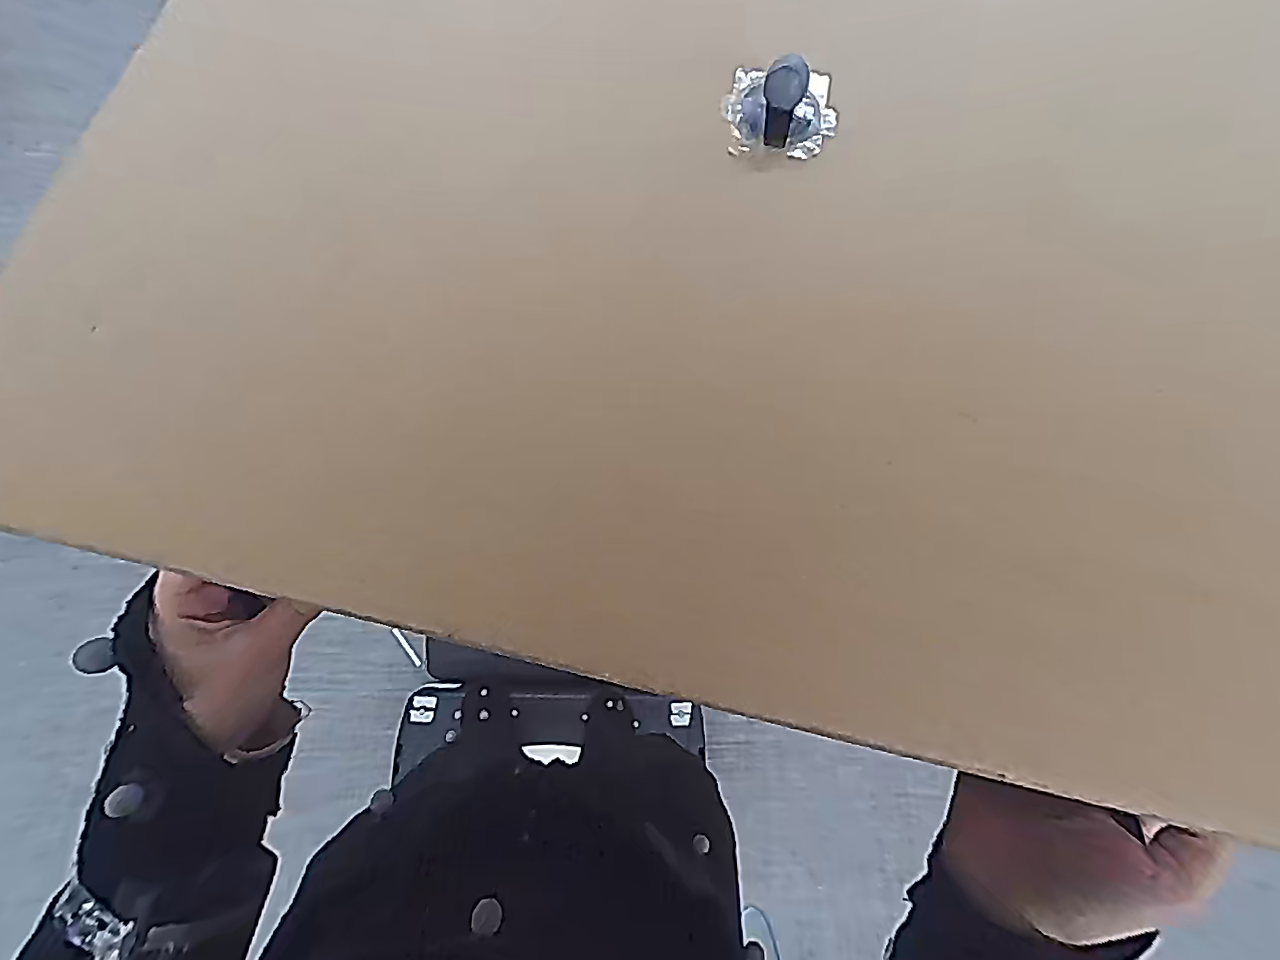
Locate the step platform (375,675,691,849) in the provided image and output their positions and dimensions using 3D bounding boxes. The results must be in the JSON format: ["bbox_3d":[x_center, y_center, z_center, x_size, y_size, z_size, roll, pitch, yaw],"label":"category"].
[{"bbox_3d":[-0.224,0.628,1.232,0.684,0.204,0.286,6,74,1],"label":"step platform"}]
